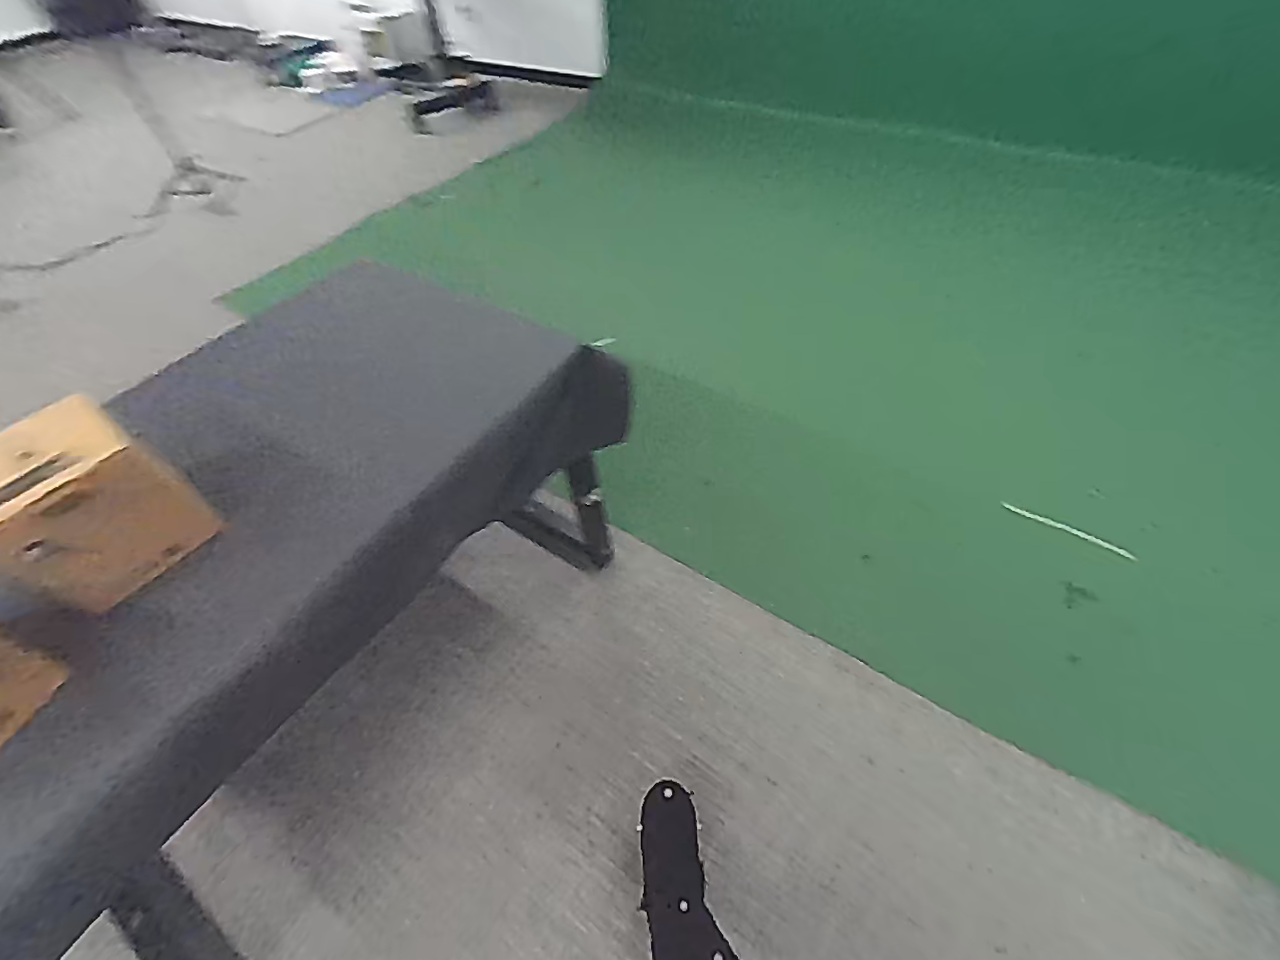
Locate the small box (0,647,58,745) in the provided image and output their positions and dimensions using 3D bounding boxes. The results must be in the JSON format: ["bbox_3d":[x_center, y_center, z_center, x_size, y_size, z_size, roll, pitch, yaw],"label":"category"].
[{"bbox_3d":[-0.771,0.219,0.532,0.179,0.176,0.168,12,52,13],"label":"small box"}]
